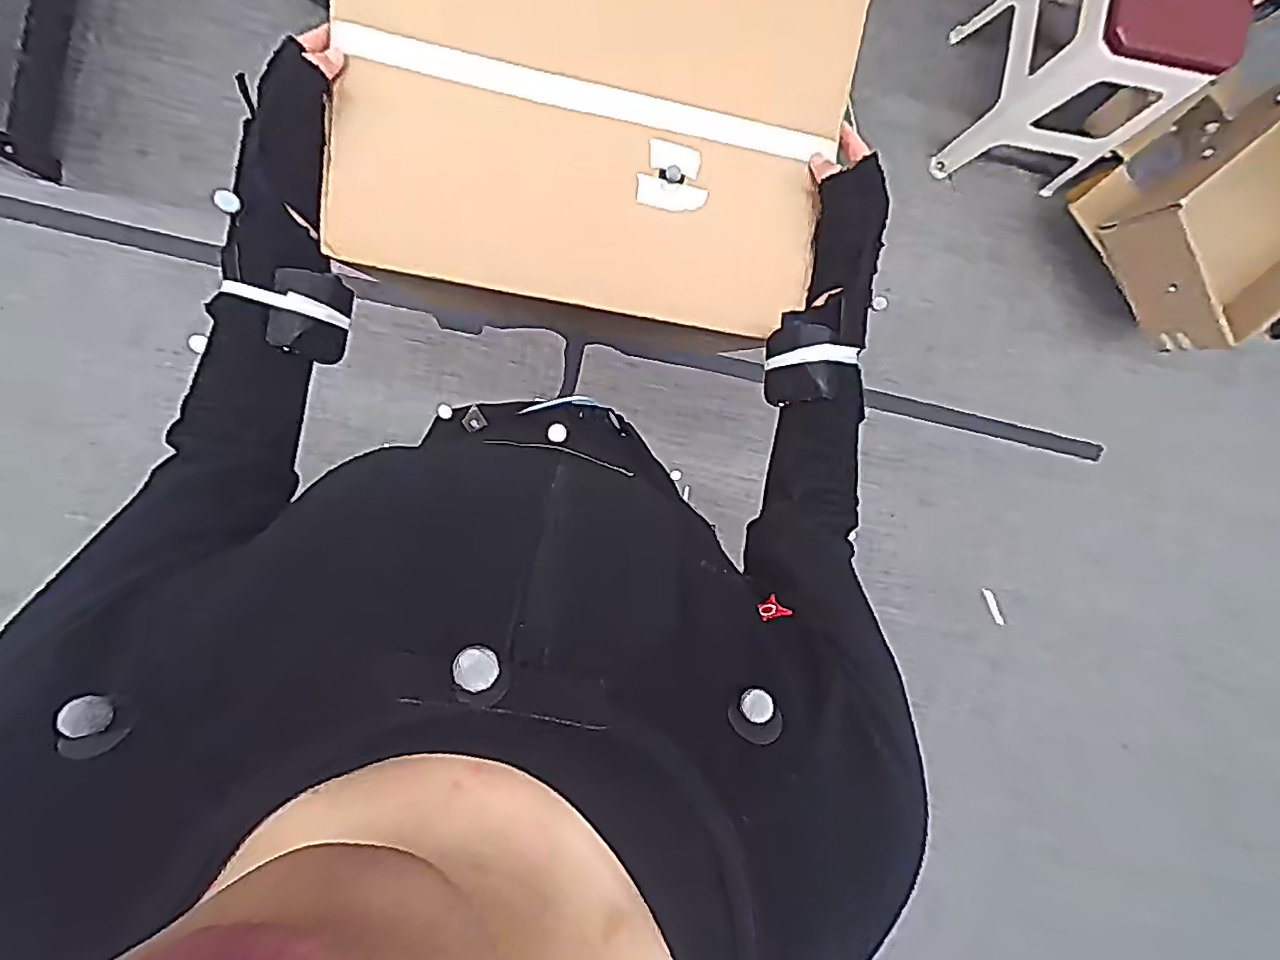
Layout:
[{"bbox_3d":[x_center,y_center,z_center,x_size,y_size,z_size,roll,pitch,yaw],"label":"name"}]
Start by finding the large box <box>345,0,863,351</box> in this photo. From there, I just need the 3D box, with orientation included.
[{"bbox_3d":[-0.048,-0.331,0.591,0.408,0.320,0.320,8,101,-10],"label":"large box"}]
